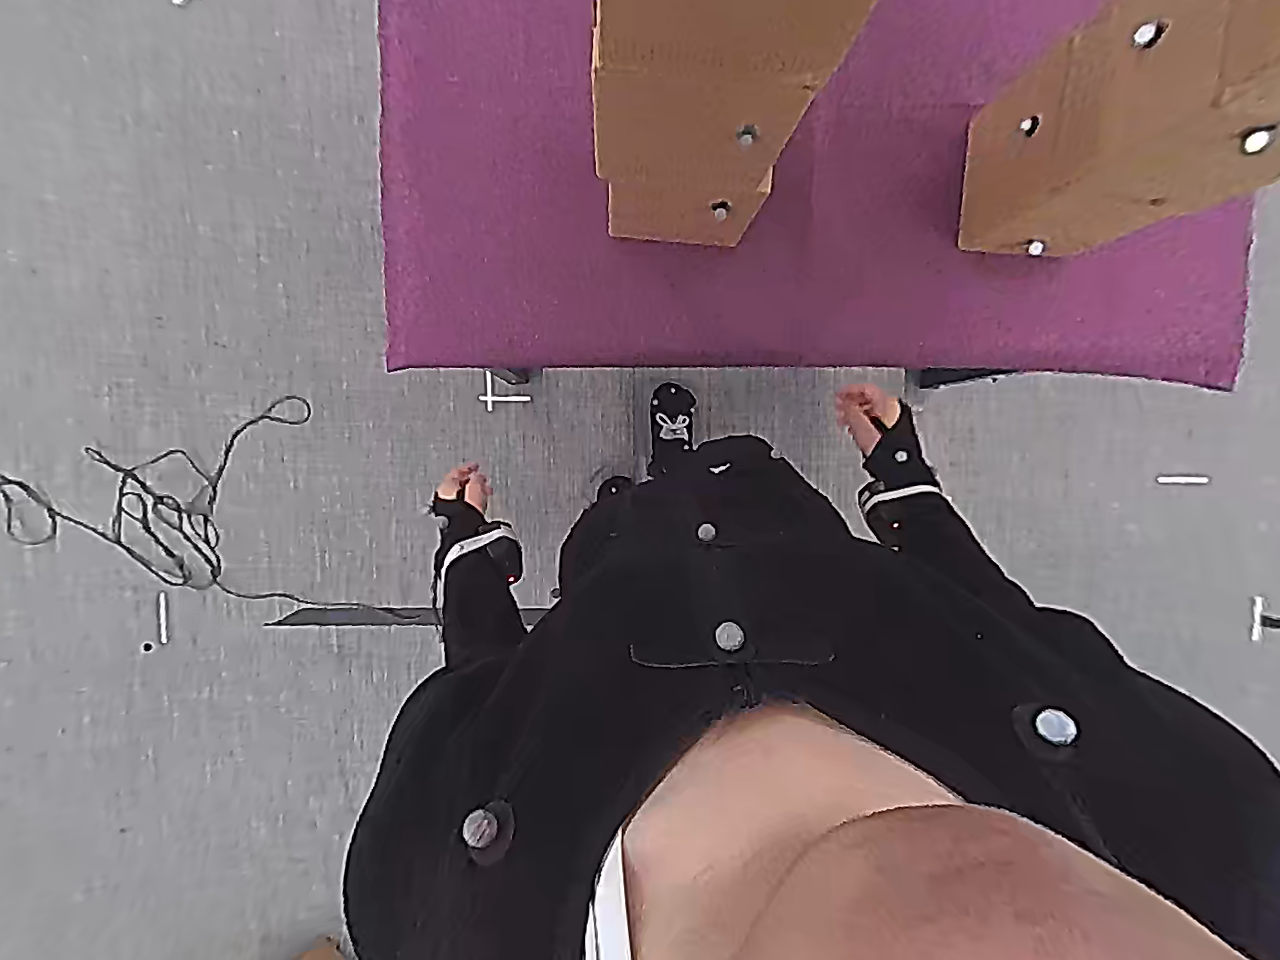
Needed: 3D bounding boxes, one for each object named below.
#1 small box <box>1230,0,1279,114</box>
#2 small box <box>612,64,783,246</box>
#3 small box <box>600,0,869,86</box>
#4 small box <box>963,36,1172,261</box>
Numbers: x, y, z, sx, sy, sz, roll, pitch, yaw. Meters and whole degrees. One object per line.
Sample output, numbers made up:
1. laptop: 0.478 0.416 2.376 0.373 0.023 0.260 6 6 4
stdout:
1. small box: 0.551 -0.361 0.348 0.168 0.176 0.179 5 93 -2
2. small box: 0.059 -0.396 0.650 0.179 0.176 0.168 4 93 -3
3. small box: 0.066 -0.376 0.324 0.179 0.176 0.168 2 95 -4
4. small box: 0.535 -0.395 0.673 0.168 0.176 0.179 3 94 -2
